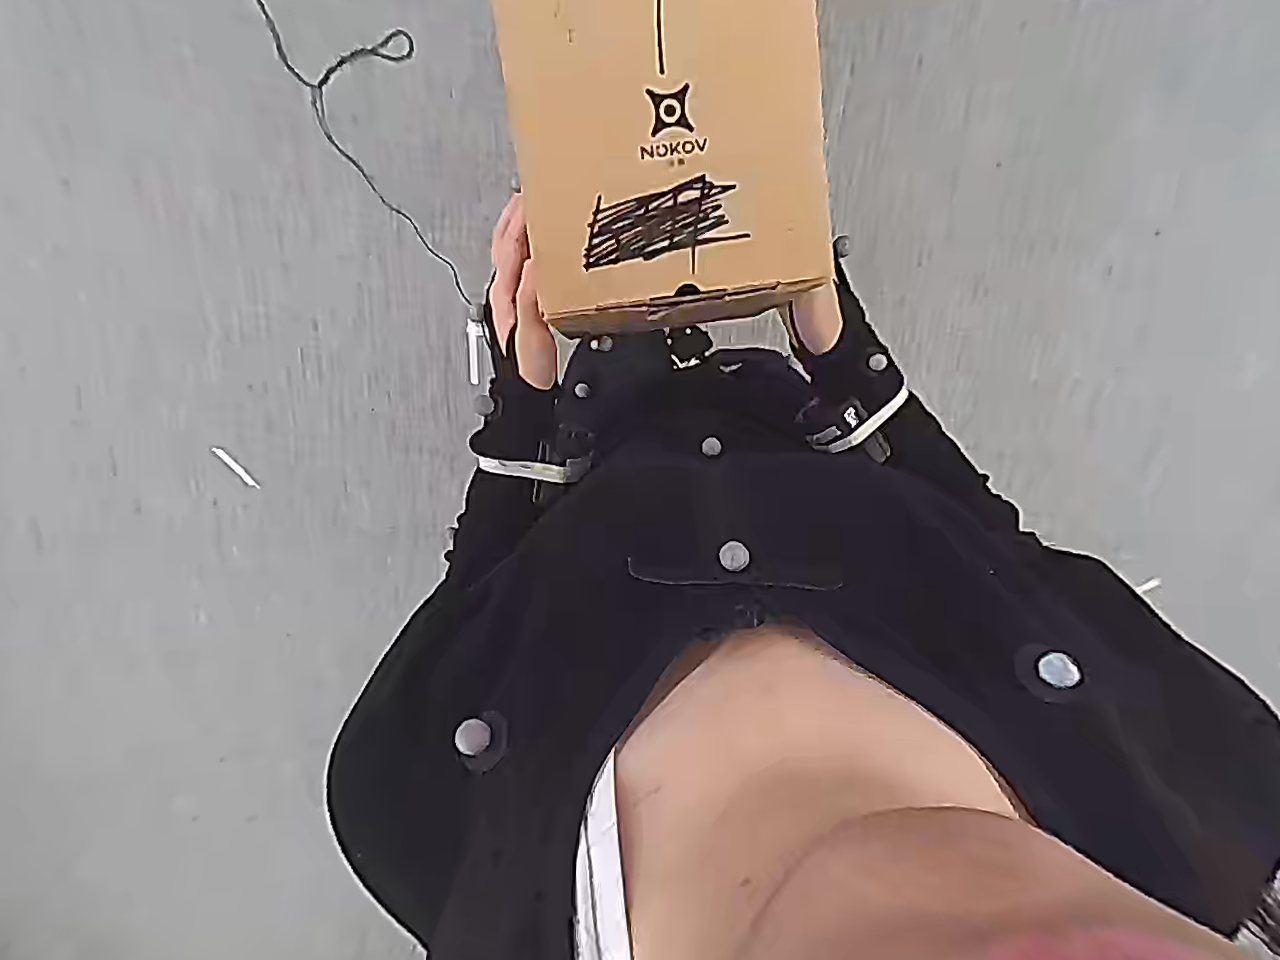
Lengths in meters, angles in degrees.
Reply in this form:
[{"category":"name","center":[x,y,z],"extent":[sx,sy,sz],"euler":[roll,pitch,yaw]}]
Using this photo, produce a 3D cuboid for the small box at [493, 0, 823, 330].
[{"category":"small box","center":[0.011,-0.202,0.368],"extent":[0.168,0.176,0.179],"euler":[-8,99,-1]}]
